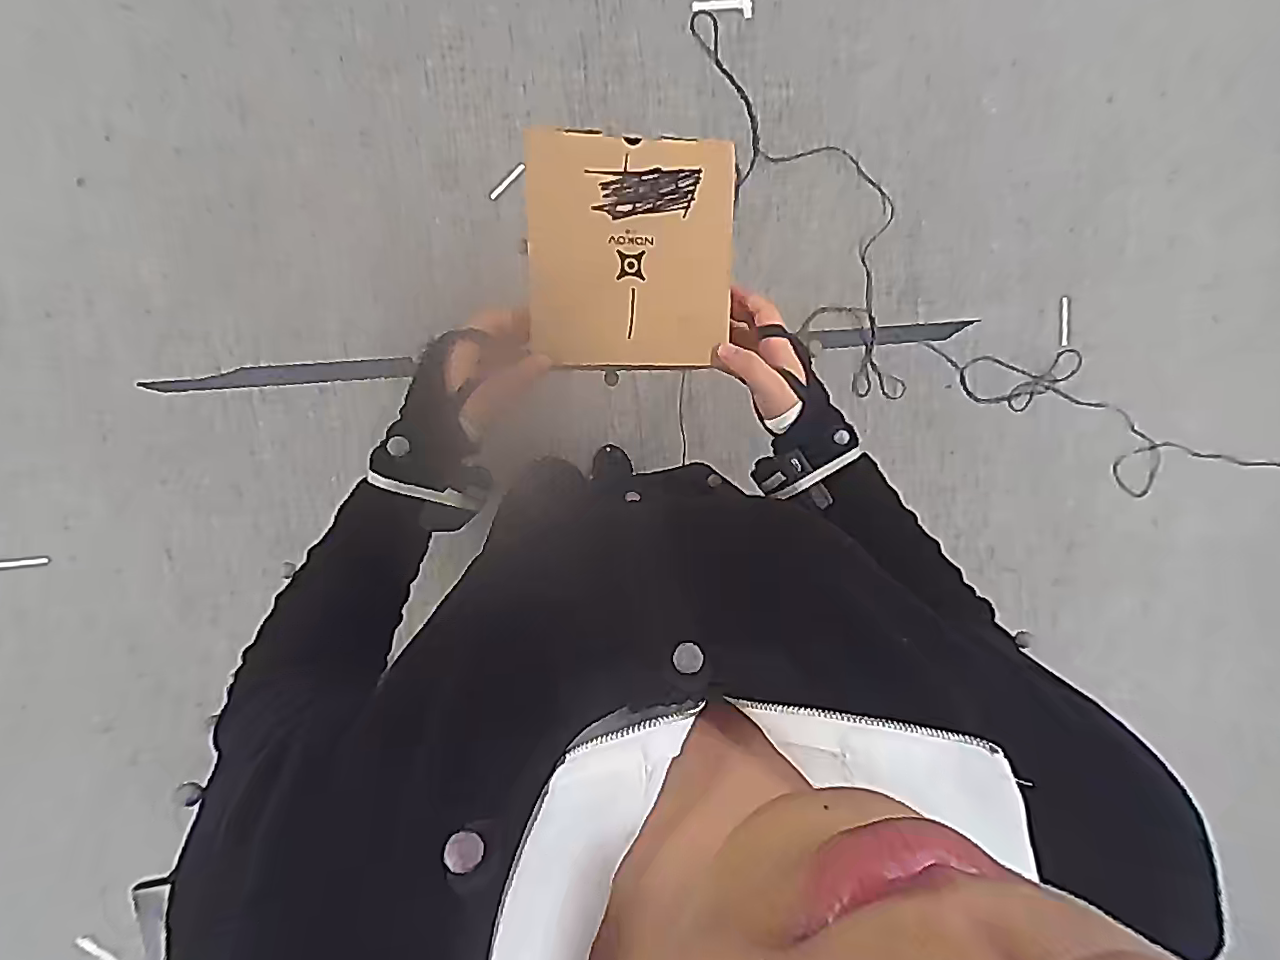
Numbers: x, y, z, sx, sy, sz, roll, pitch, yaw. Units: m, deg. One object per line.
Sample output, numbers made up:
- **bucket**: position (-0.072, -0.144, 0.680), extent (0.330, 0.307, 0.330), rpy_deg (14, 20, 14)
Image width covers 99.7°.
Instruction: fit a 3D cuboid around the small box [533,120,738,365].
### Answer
- **small box**: position (-0.015, -0.202, 0.510), extent (0.168, 0.176, 0.179), rpy_deg (-2, 101, -8)
